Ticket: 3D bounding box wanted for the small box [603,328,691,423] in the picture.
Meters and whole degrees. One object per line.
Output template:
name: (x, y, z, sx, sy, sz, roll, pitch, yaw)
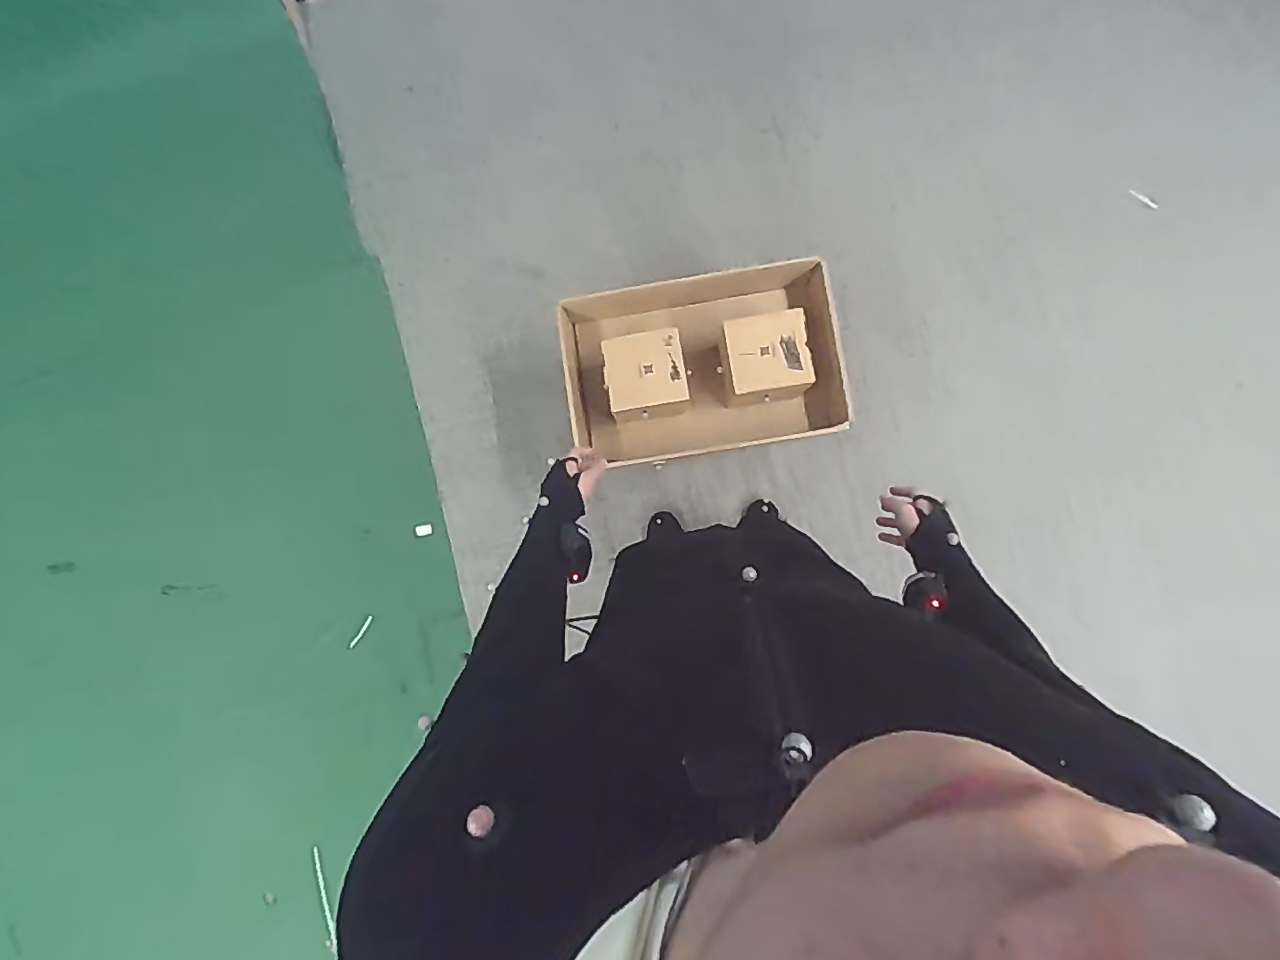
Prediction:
small box: (0.022, -0.234, 1.255, 0.179, 0.176, 0.168, -8, 85, 5)
